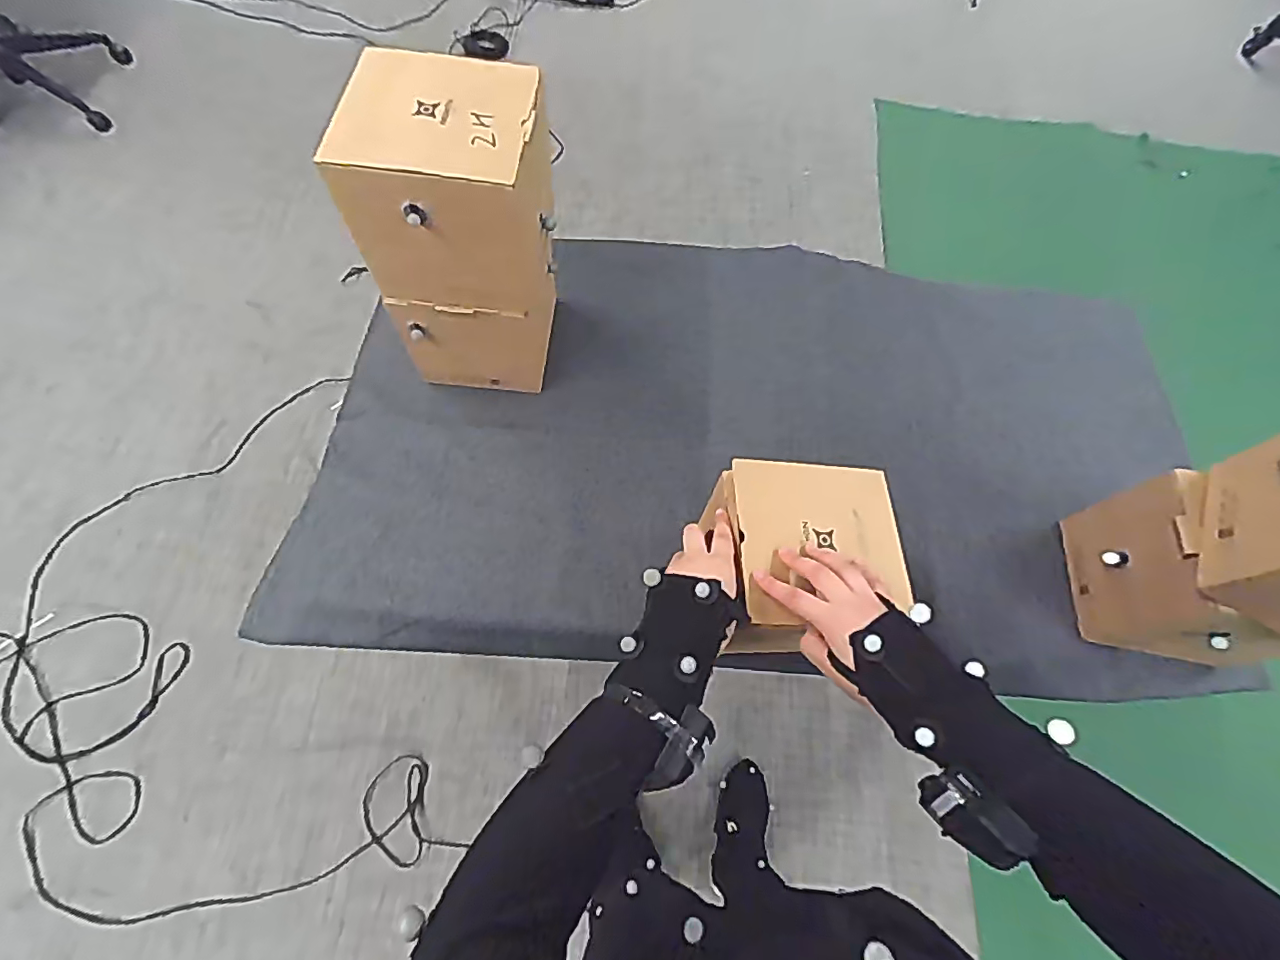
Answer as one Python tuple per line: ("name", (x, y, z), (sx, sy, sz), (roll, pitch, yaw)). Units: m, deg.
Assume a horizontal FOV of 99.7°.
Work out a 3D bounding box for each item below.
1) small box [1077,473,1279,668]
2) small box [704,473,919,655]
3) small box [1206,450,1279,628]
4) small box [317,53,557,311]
("small box", (0.656, 0.113, 0.630), (0.179, 0.176, 0.168), (11, 64, 2))
("small box", (0.170, 0.101, 0.605), (0.179, 0.176, 0.168), (0, 66, -4))
("small box", (0.669, 0.058, 0.476), (0.179, 0.176, 0.168), (30, 65, 9))
("small box", (-0.190, -0.301, 0.570), (0.179, 0.176, 0.168), (6, 68, -2))
